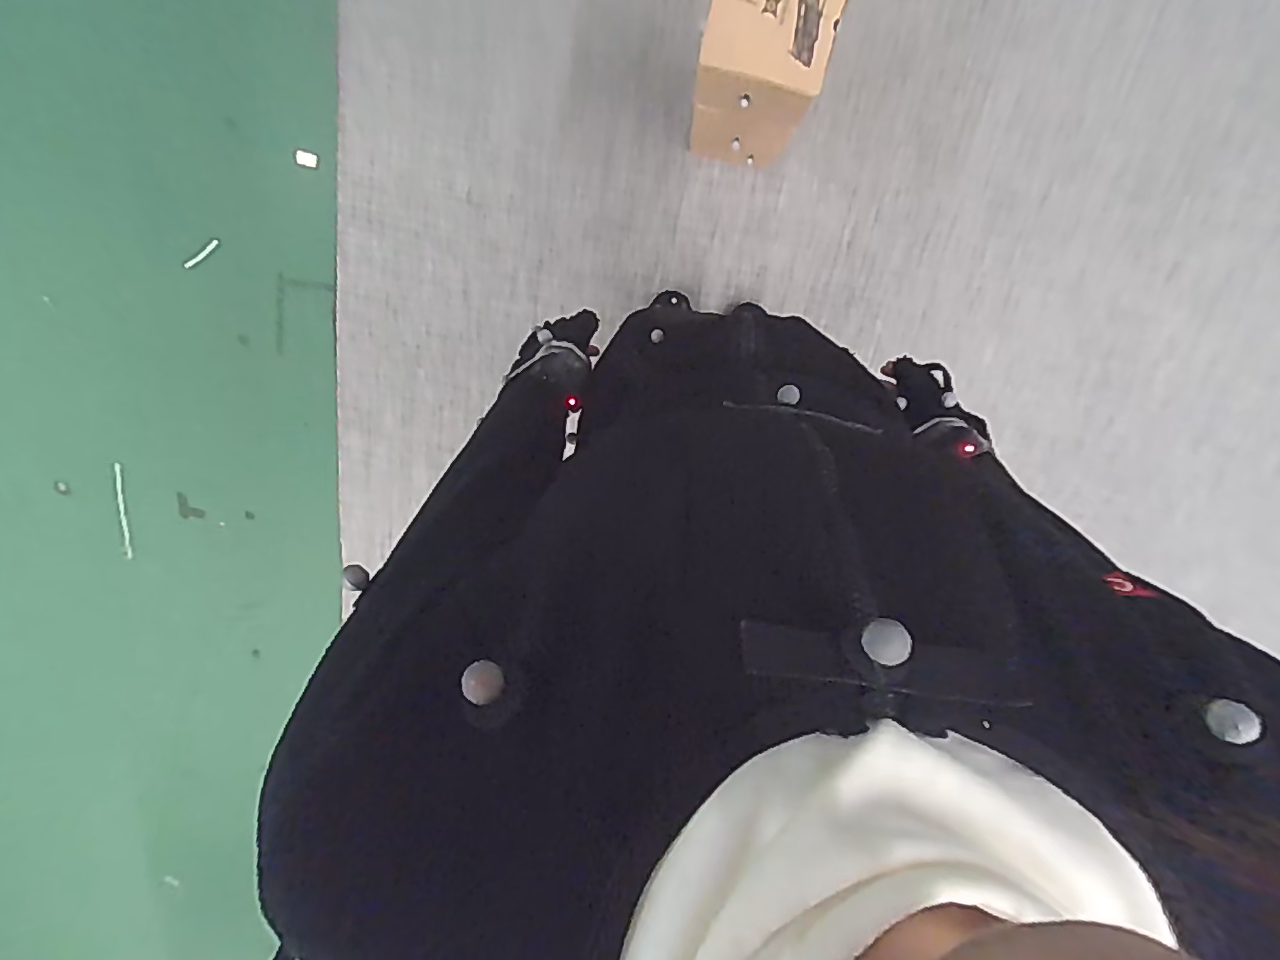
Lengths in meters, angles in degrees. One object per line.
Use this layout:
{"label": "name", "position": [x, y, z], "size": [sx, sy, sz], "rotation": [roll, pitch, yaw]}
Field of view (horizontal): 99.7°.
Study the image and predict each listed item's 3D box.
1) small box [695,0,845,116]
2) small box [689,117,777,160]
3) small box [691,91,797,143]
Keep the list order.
{"label": "small box", "position": [0.186, -0.661, 0.795], "size": [0.179, 0.176, 0.168], "rotation": [11, 110, -1]}
{"label": "small box", "position": [0.202, -0.774, 1.103], "size": [0.179, 0.176, 0.168], "rotation": [12, 110, 1]}
{"label": "small box", "position": [0.194, -0.716, 0.950], "size": [0.179, 0.176, 0.168], "rotation": [13, 110, -1]}
